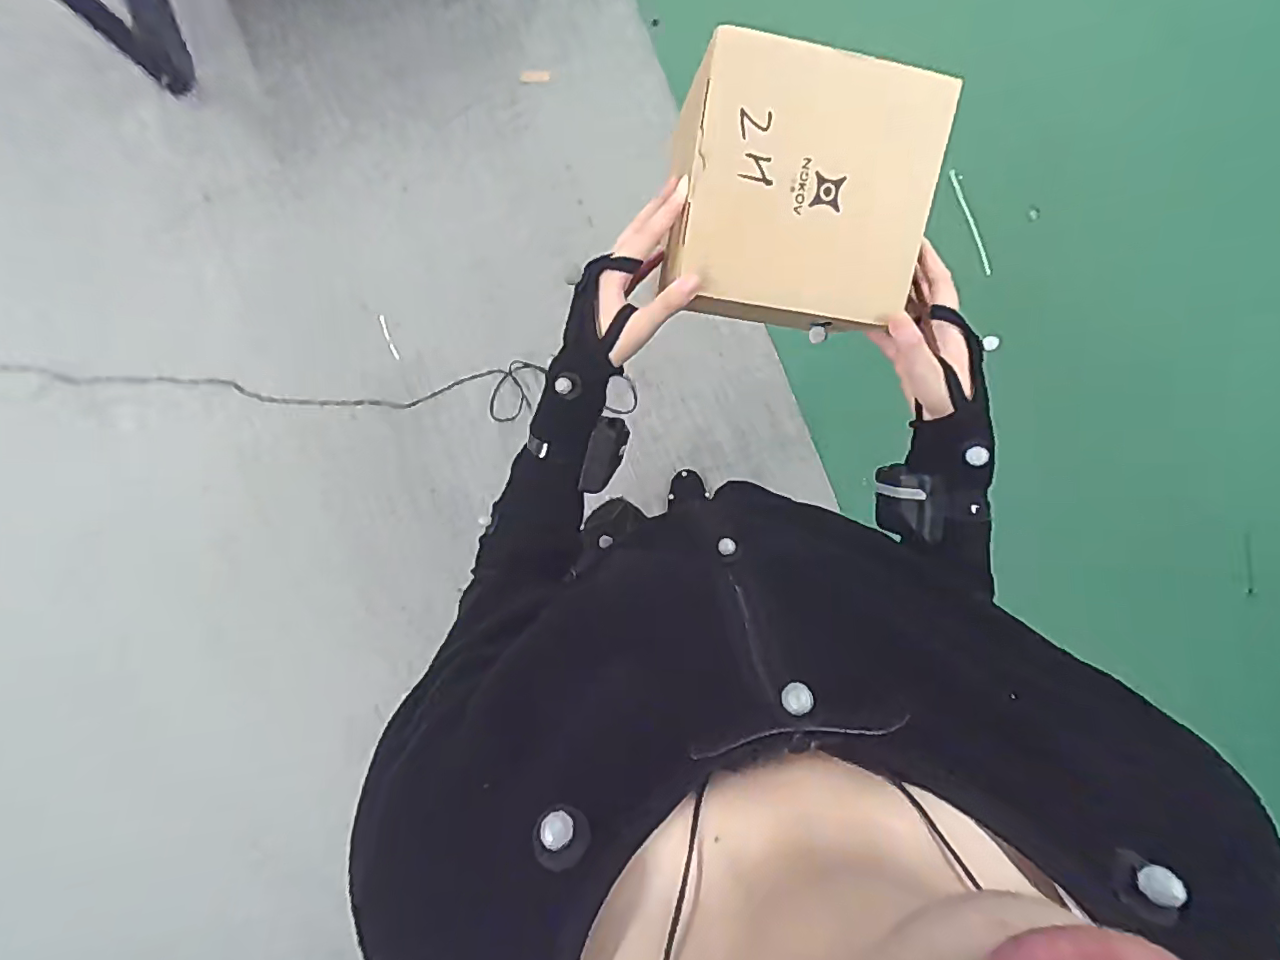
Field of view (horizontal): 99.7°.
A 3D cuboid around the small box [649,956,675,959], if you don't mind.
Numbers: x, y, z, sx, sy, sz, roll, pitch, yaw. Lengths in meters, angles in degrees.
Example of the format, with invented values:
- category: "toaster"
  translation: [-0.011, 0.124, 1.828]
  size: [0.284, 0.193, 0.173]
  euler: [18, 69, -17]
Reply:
- category: "small box"
  translation: [0.017, 0.908, 0.847]
  size: [0.168, 0.176, 0.179]
  euler: [-28, 87, -1]

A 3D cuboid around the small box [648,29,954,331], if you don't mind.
- category: "small box"
  translation: [0.112, -0.223, 0.455]
  size: [0.179, 0.176, 0.168]
  euler: [7, 104, -7]
